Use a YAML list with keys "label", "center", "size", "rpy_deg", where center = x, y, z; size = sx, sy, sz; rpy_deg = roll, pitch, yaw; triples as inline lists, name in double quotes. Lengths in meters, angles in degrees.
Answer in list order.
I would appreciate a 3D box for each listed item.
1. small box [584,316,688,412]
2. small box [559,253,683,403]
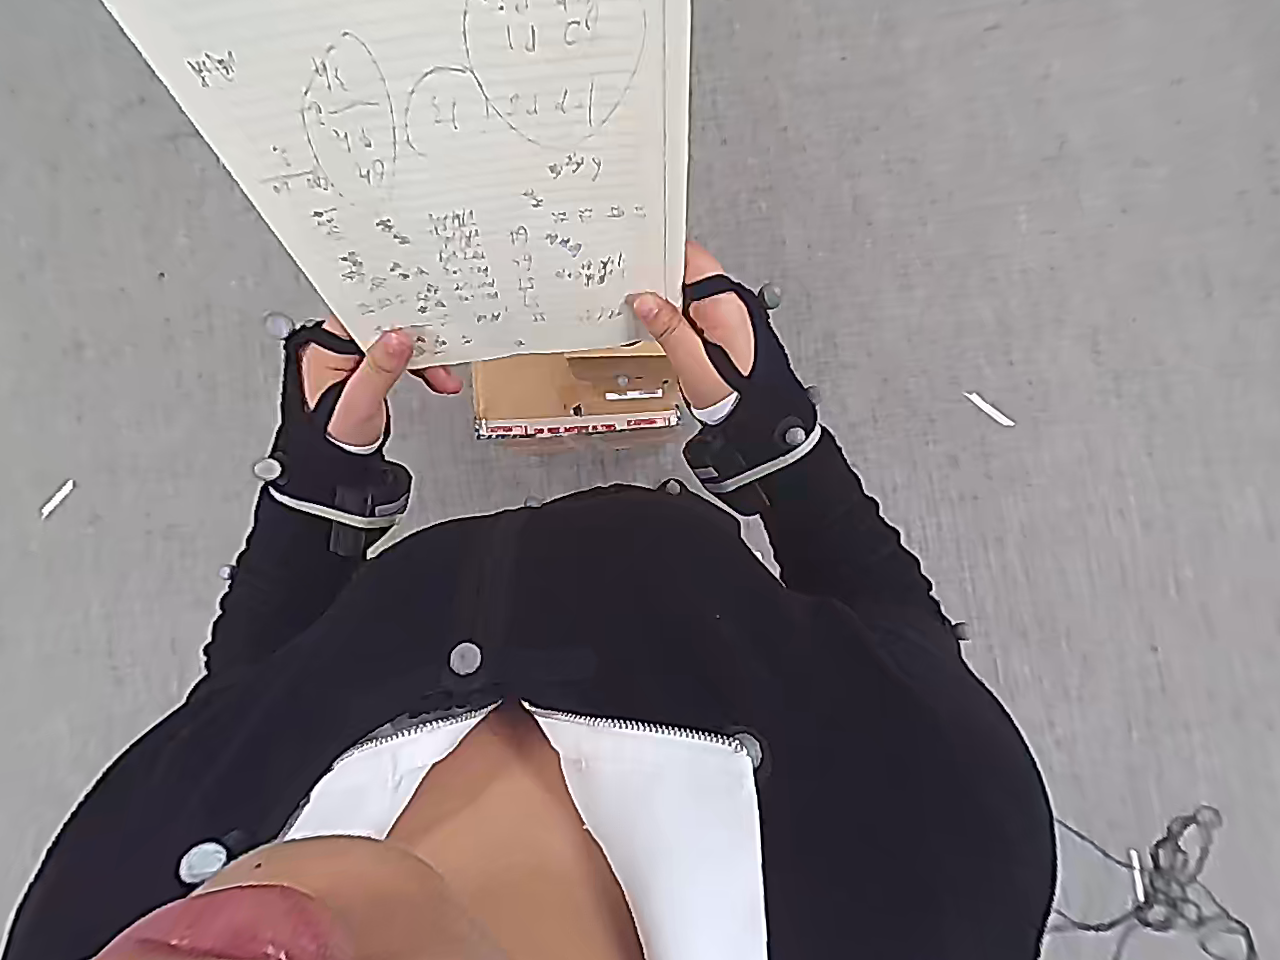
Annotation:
- label: "small box"
  center: [-0.017, -0.216, 0.958]
  size: [0.179, 0.176, 0.168]
  rpy_deg: [-5, 90, -2]
- label: "small box"
  center: [-0.030, -0.212, 0.793]
  size: [0.168, 0.176, 0.179]
  rpy_deg: [-1, 91, -3]
